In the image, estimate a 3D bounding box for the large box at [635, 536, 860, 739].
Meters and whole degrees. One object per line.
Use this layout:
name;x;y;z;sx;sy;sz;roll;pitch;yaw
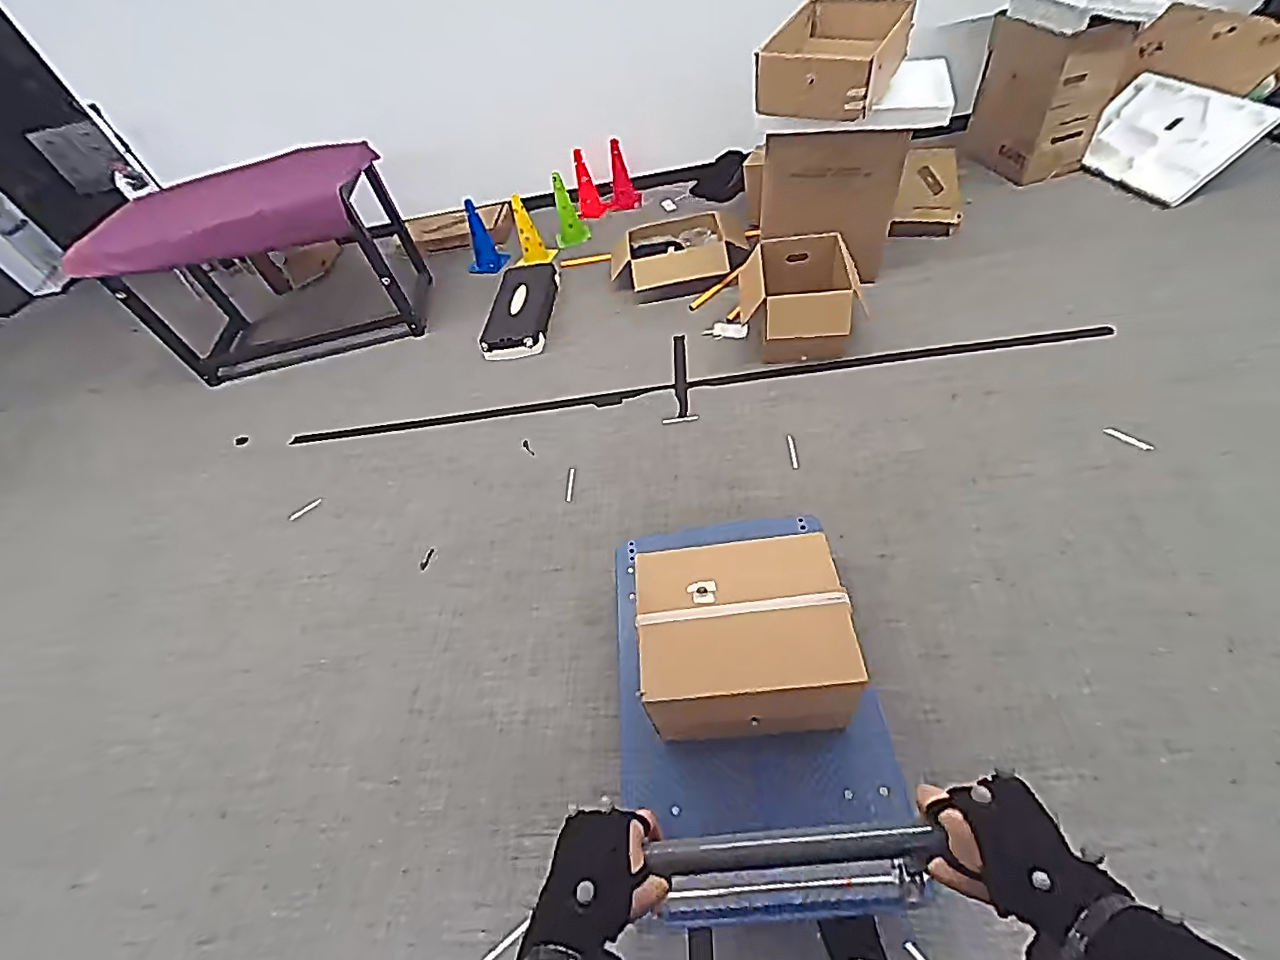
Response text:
large box;0.220;0.357;1.192;0.408;0.320;0.320;-9;50;7
